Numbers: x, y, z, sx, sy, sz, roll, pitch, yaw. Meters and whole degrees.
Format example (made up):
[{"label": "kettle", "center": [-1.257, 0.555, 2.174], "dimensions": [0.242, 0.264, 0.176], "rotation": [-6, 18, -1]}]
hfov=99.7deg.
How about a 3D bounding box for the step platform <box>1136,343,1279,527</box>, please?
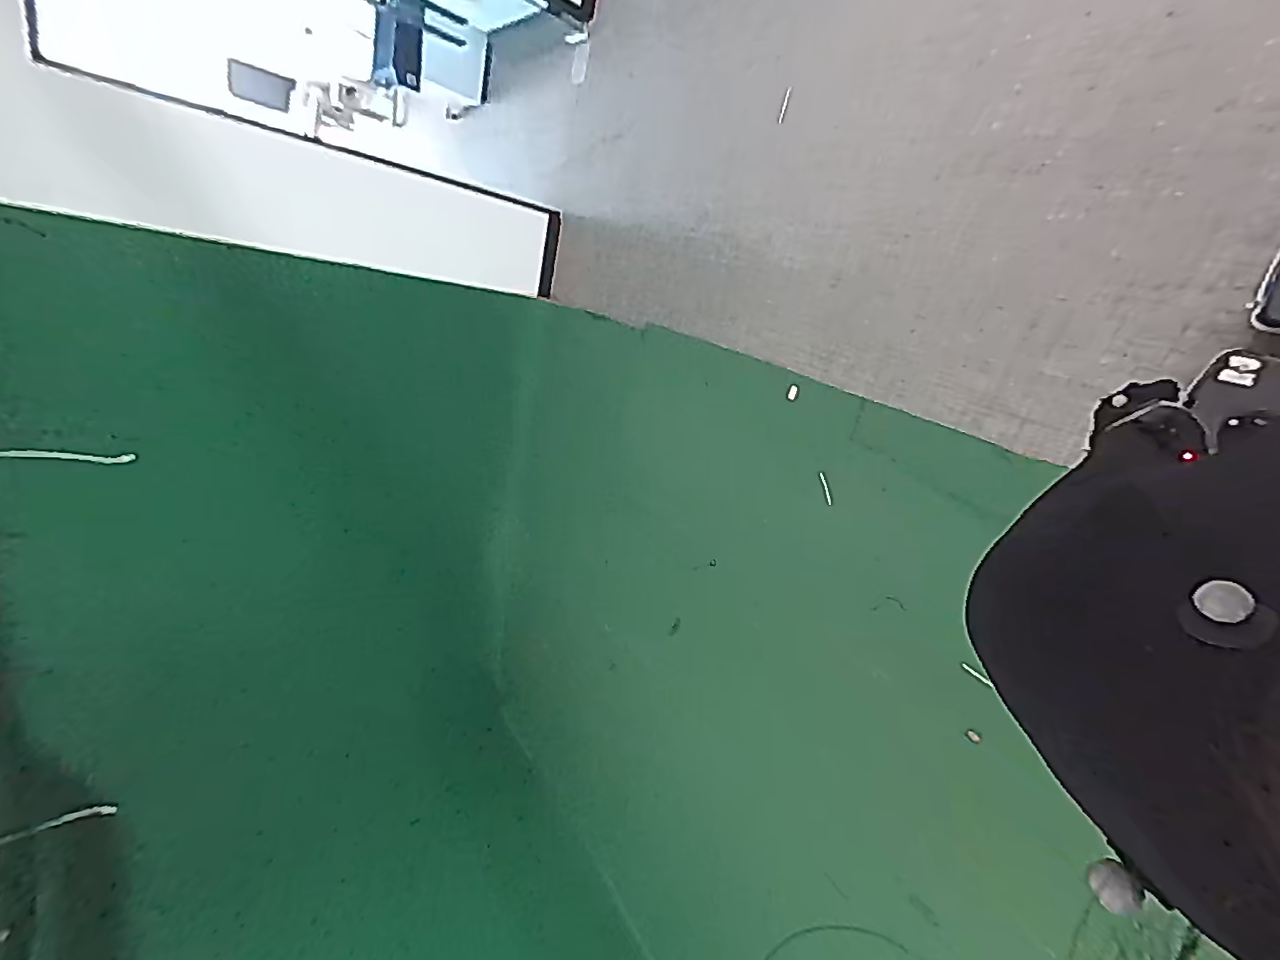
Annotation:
[{"label": "step platform", "center": [1.213, 0.010, 0.798], "dimensions": [0.684, 0.204, 0.286], "rotation": [32, 117, 42]}]
